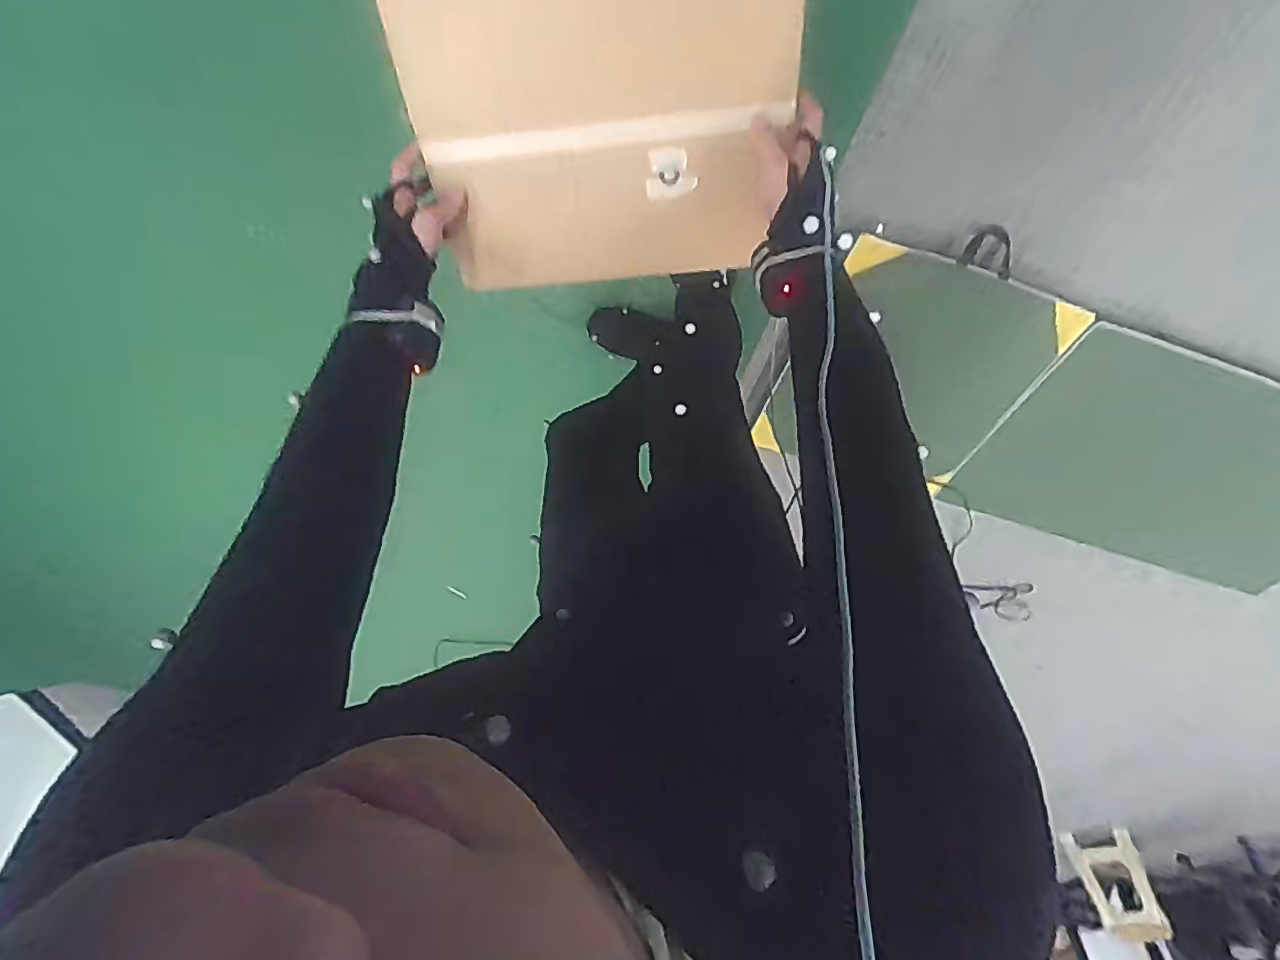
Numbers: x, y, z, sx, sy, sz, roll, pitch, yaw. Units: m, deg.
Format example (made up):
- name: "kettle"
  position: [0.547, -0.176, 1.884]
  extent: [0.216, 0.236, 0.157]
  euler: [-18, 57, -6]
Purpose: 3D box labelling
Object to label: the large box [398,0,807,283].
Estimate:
- name: "large box"
  position: [-0.029, -0.477, 0.706]
  extent: [0.408, 0.320, 0.320]
  euler: [-3, 129, 3]
